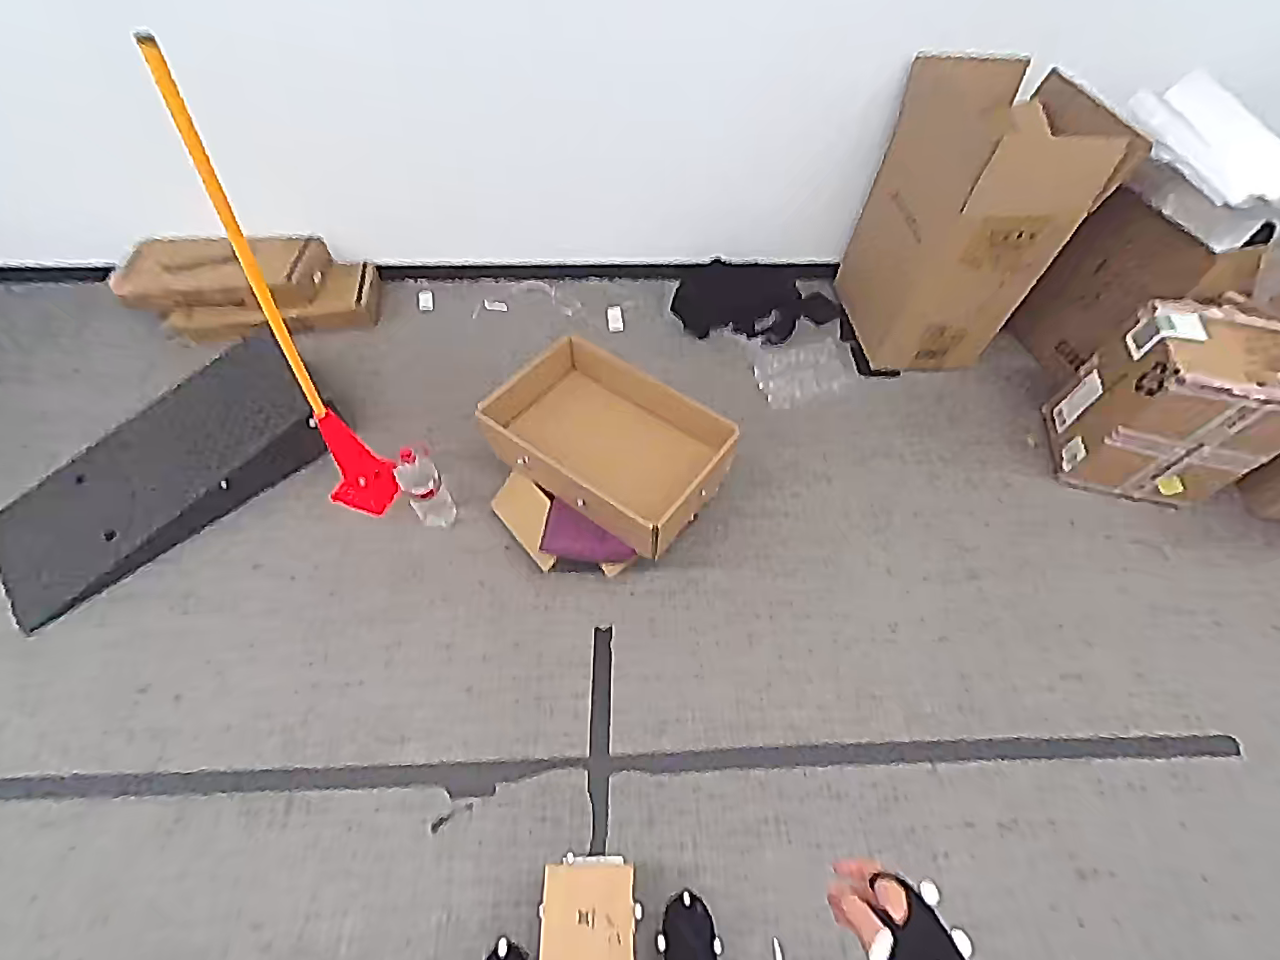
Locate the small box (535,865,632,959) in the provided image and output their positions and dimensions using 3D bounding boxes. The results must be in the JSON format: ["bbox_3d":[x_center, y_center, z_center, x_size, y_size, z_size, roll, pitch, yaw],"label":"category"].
[{"bbox_3d":[-0.105,0.874,1.079,0.179,0.176,0.168,1,56,-2],"label":"small box"}]
